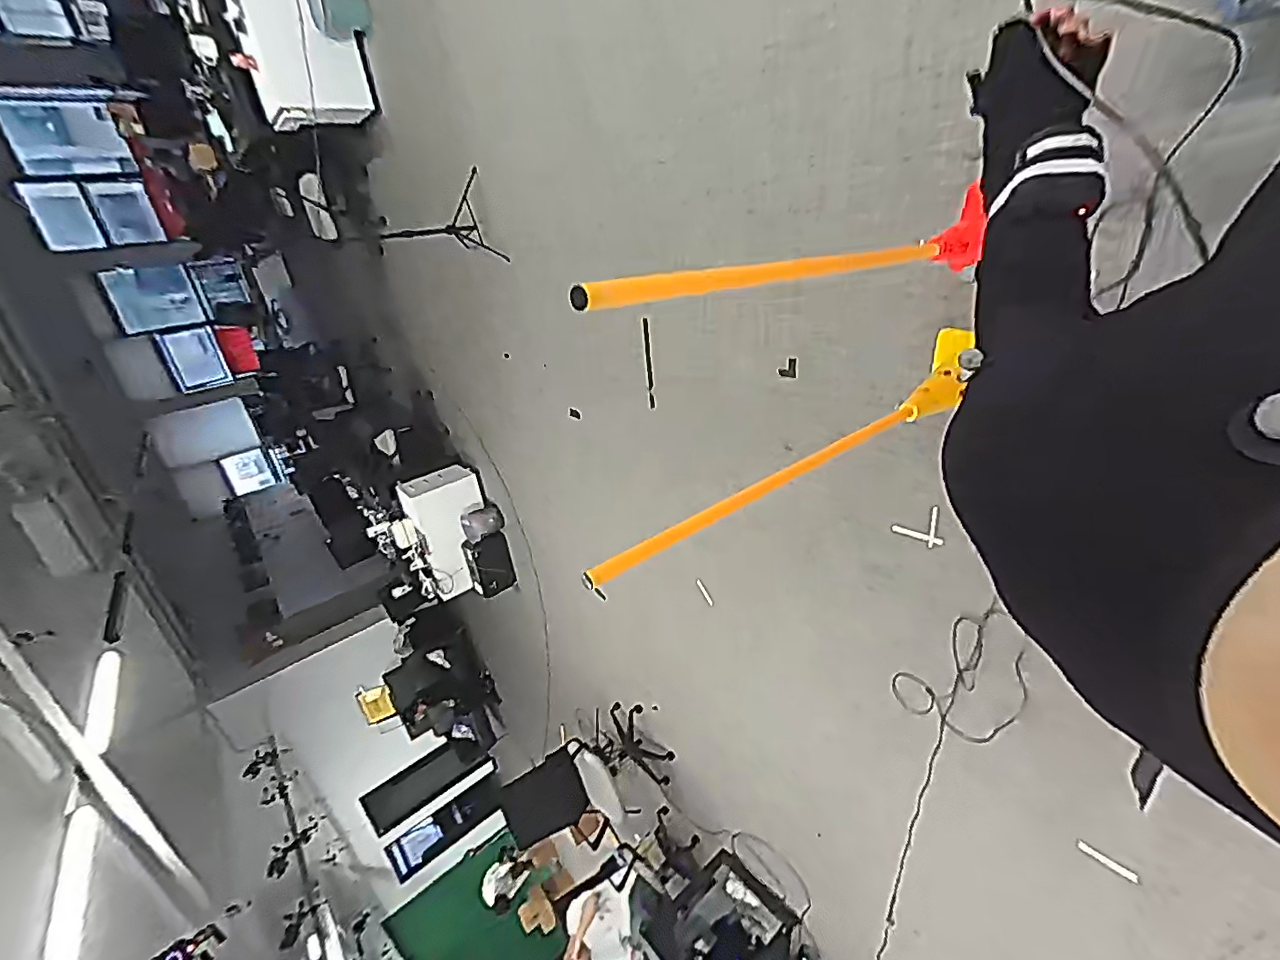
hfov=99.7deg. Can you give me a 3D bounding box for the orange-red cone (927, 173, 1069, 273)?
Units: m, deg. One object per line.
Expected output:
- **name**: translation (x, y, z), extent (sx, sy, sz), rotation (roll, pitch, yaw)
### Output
- **orange-red cone**: translation (0.690, -0.517, 1.116), extent (0.198, 0.360, 0.199), rotation (29, 132, 41)
